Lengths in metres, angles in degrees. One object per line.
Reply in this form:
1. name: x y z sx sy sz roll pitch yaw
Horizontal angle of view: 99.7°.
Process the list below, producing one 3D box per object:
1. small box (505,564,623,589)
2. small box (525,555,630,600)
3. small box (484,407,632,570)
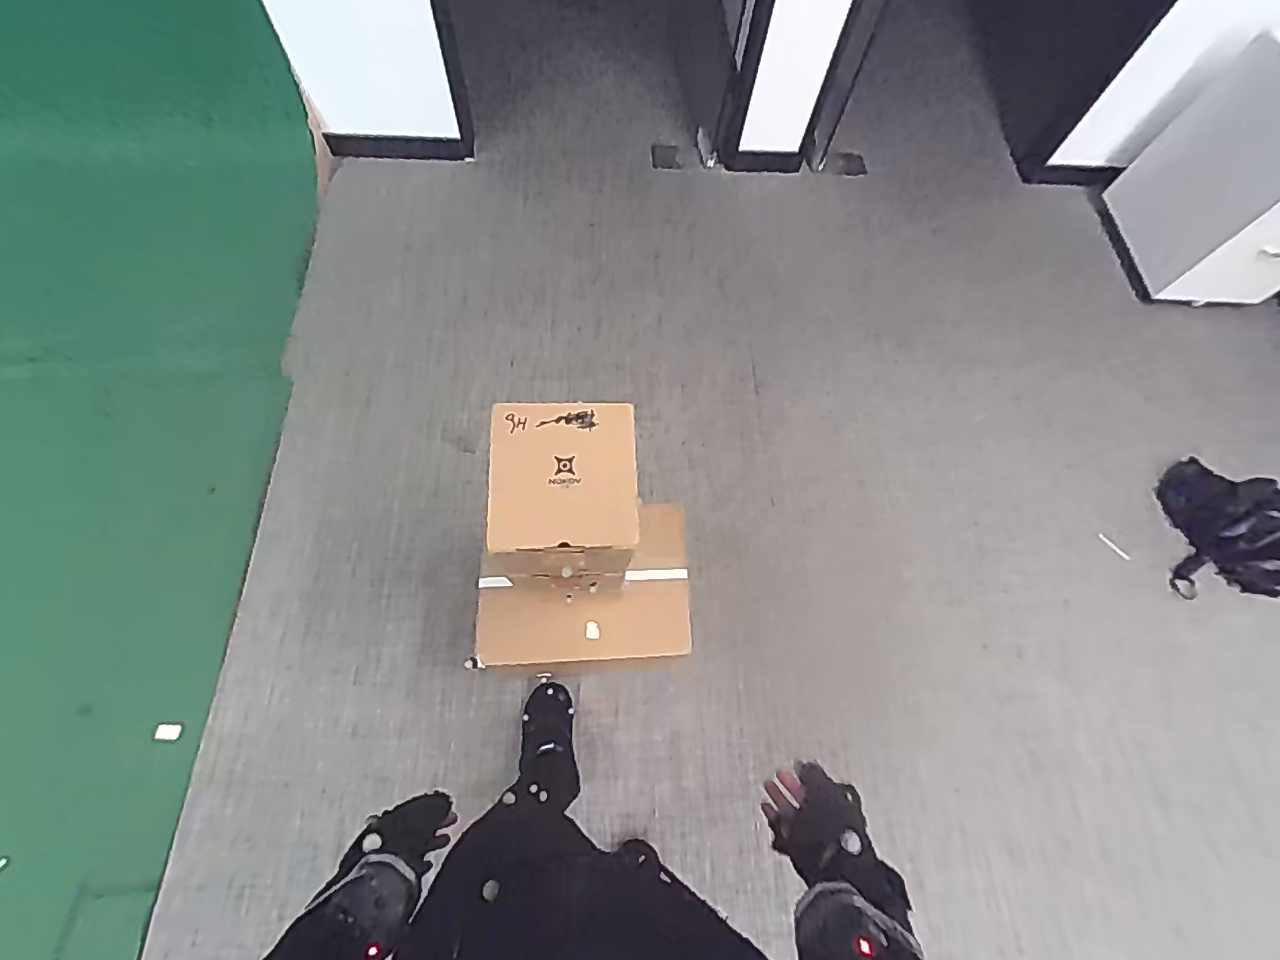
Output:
1. small box: -0.112 0.075 0.843 0.168 0.176 0.179 -1 71 -6
2. small box: -0.115 0.130 0.996 0.179 0.176 0.168 -1 73 -6
3. small box: -0.097 0.020 0.690 0.168 0.176 0.179 -1 73 -6
